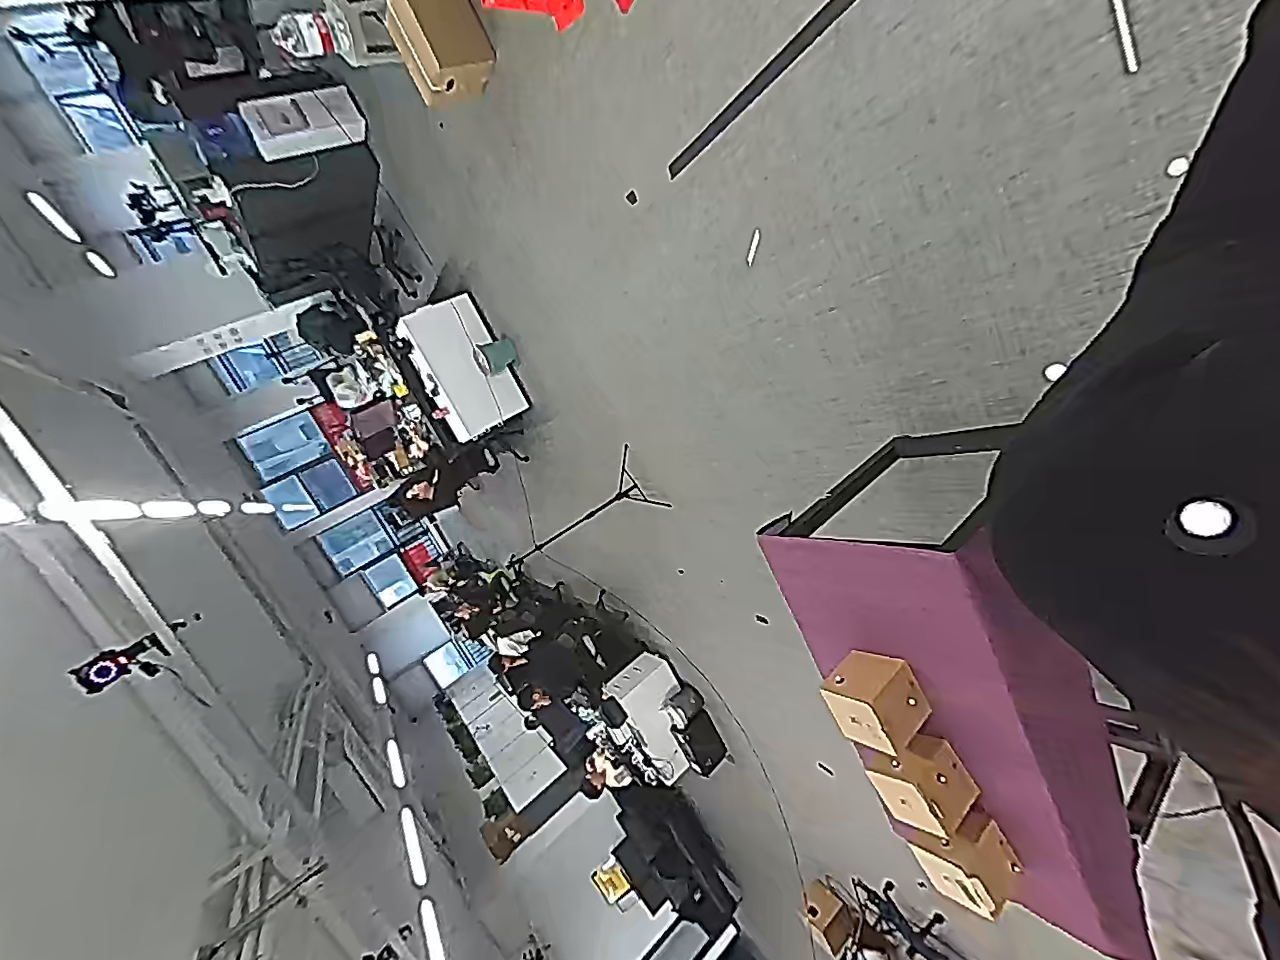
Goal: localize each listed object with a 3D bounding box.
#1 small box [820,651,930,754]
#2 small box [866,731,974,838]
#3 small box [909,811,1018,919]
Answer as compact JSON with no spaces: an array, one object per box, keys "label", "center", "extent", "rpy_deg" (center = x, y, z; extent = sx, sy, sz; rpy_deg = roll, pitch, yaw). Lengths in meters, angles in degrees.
[{"label":"small box","center":[0.624,0.580,1.435],"extent":[0.168,0.176,0.179],"rpy_deg":[60,153,-8]},{"label":"small box","center":[0.760,0.807,1.459],"extent":[0.168,0.176,0.179],"rpy_deg":[58,154,0]},{"label":"small box","center":[0.888,1.023,1.474],"extent":[0.168,0.176,0.179],"rpy_deg":[58,154,-1]}]
